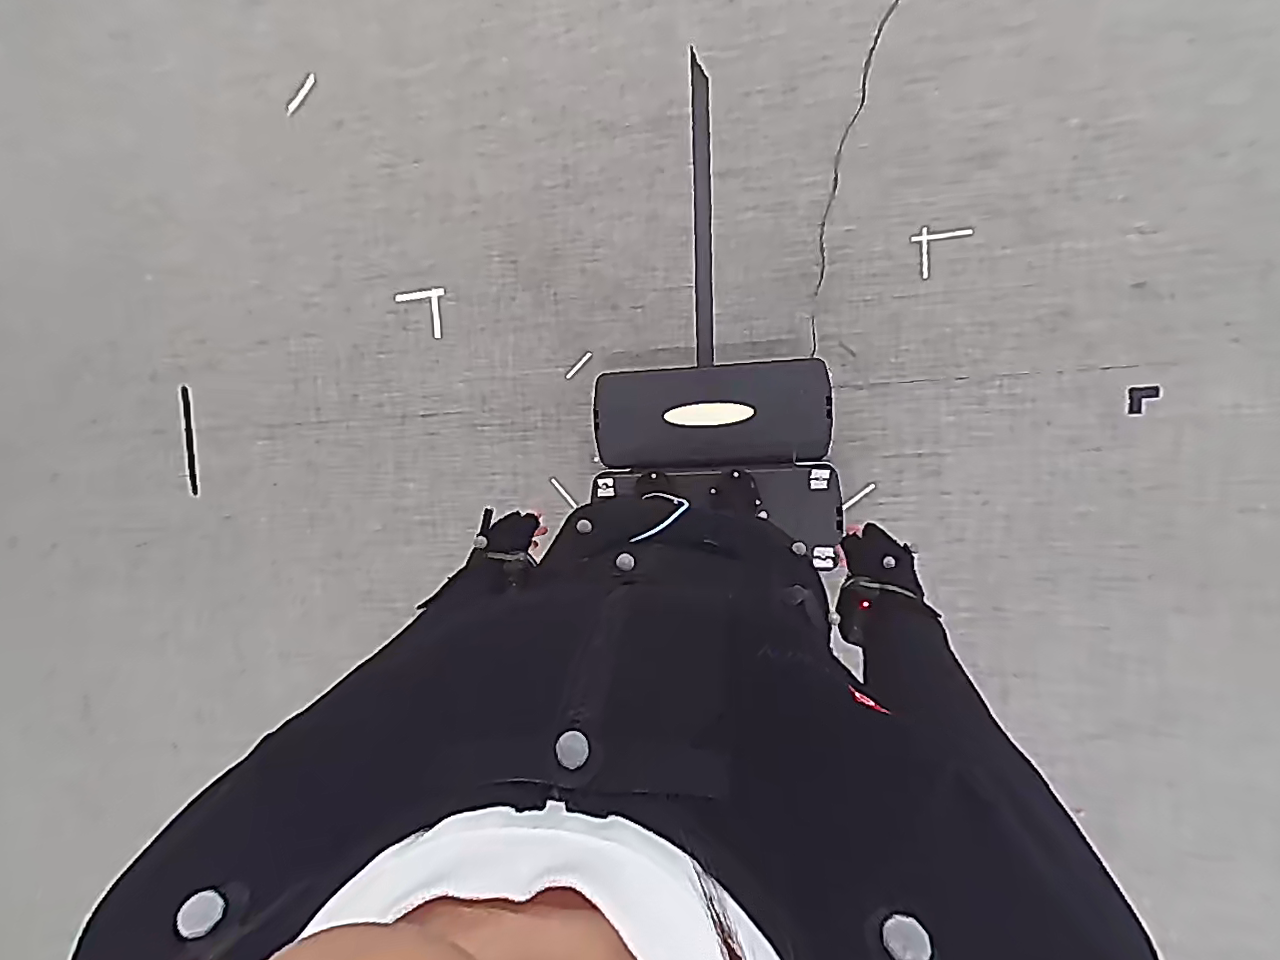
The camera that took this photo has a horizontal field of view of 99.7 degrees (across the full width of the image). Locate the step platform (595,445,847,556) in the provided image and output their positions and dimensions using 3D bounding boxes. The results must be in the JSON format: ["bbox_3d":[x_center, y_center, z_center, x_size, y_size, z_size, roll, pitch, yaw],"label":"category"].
[{"bbox_3d":[0.217,0.059,1.517,0.684,0.204,0.286,-3,92,11],"label":"step platform"}]
